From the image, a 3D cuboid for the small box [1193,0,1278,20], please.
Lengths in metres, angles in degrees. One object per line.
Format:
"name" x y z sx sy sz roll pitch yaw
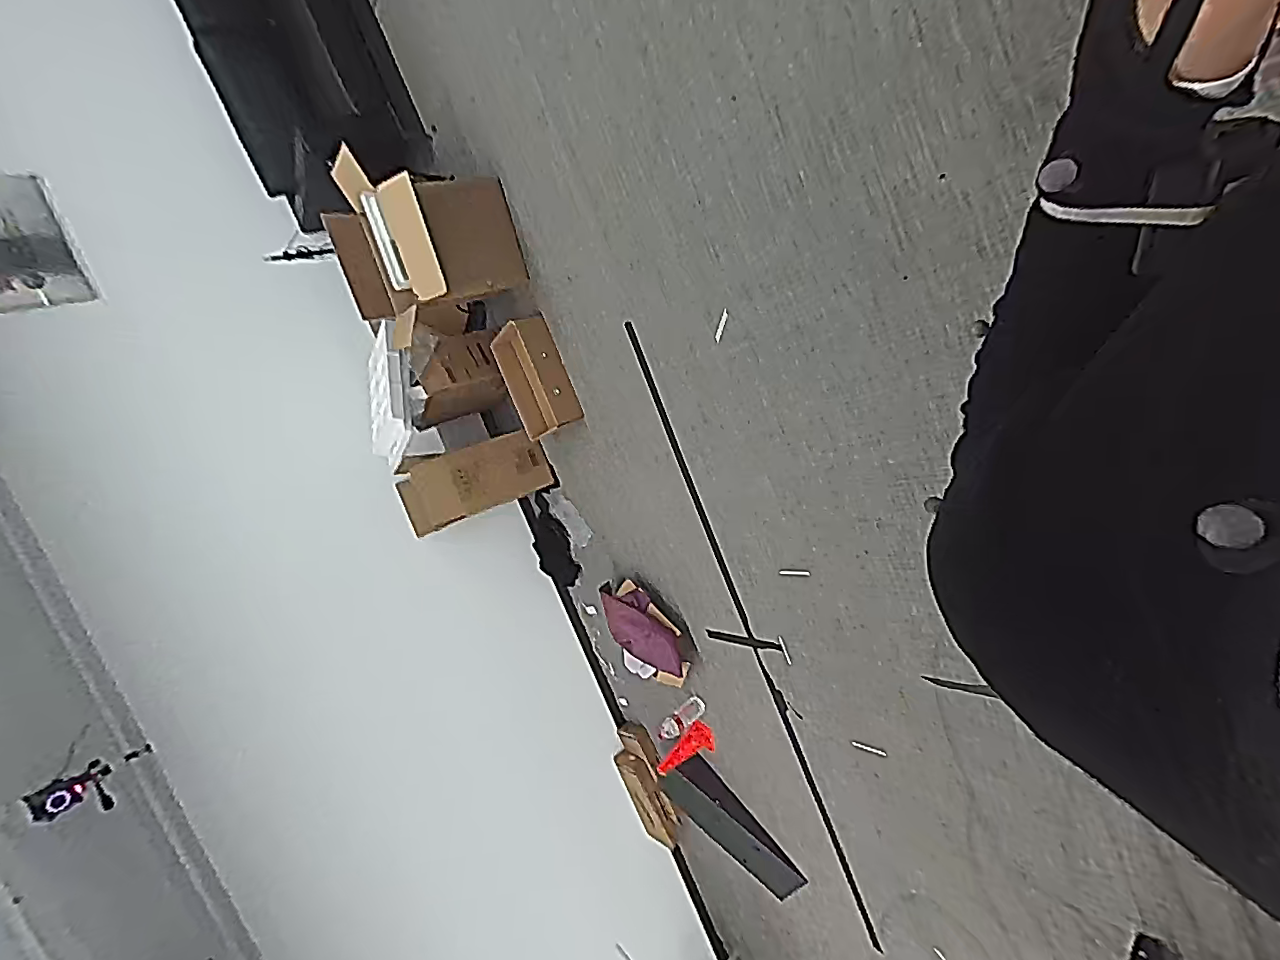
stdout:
"small box" 0.640 -0.566 0.492 0.179 0.176 0.168 2 115 56
